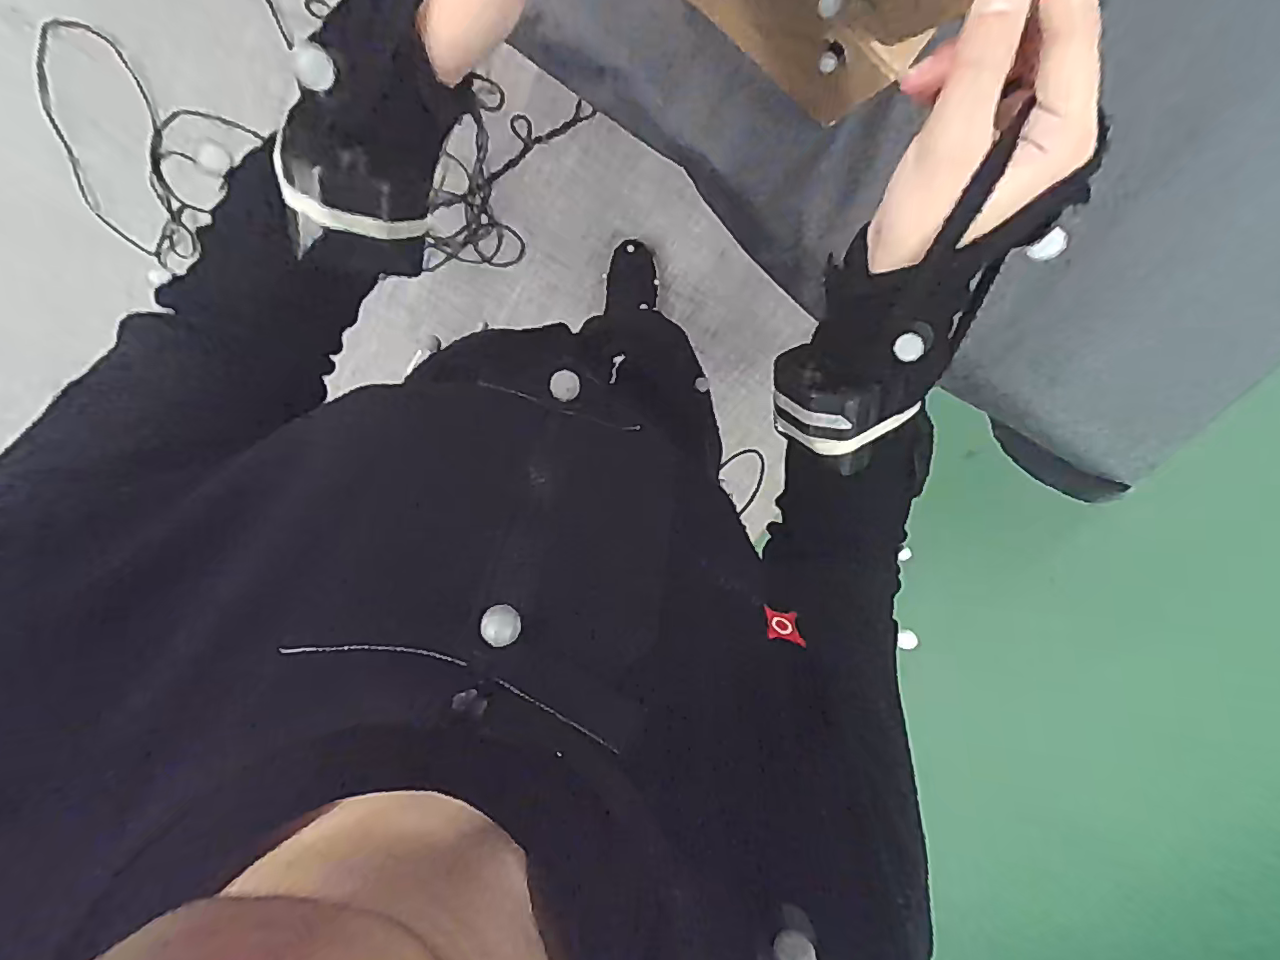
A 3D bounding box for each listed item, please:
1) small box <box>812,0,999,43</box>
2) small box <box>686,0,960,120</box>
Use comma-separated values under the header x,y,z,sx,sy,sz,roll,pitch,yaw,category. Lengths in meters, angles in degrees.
x,y,z,sx,sy,sz,roll,pitch,yaw,category
0.101,-0.301,0.196,0.168,0.176,0.179,25,123,-8,small box
0.139,-0.380,0.359,0.179,0.176,0.168,34,111,-13,small box
